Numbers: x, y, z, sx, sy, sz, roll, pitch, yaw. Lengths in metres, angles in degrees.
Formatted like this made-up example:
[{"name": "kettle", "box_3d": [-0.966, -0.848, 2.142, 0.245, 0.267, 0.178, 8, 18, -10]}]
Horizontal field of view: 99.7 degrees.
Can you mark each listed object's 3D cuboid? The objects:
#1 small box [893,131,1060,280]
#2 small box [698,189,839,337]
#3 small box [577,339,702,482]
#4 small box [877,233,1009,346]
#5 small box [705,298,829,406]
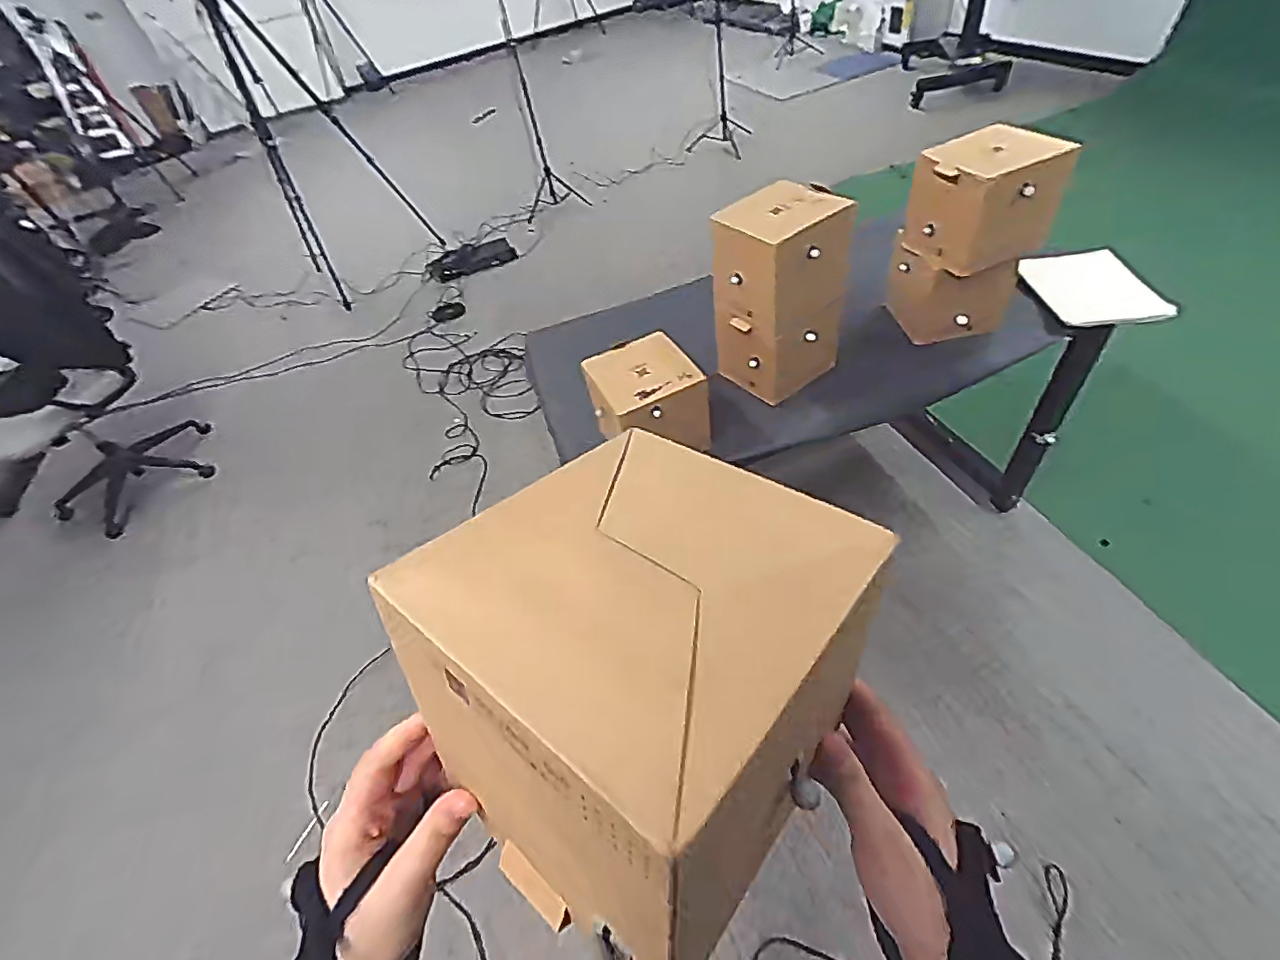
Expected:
[{"name": "small box", "box_3d": [0.587, -0.492, 0.973, 0.179, 0.176, 0.168, -23, 47, -6]}, {"name": "small box", "box_3d": [0.227, -0.383, 0.962, 0.179, 0.176, 0.168, -32, 51, -16]}, {"name": "small box", "box_3d": [0.002, -0.128, 1.009, 0.168, 0.176, 0.179, -25, 49, -10]}, {"name": "small box", "box_3d": [0.605, -0.401, 1.110, 0.168, 0.176, 0.179, -11, 48, 5]}, {"name": "small box", "box_3d": [0.254, -0.278, 1.086, 0.179, 0.176, 0.168, -34, 51, -18]}]
